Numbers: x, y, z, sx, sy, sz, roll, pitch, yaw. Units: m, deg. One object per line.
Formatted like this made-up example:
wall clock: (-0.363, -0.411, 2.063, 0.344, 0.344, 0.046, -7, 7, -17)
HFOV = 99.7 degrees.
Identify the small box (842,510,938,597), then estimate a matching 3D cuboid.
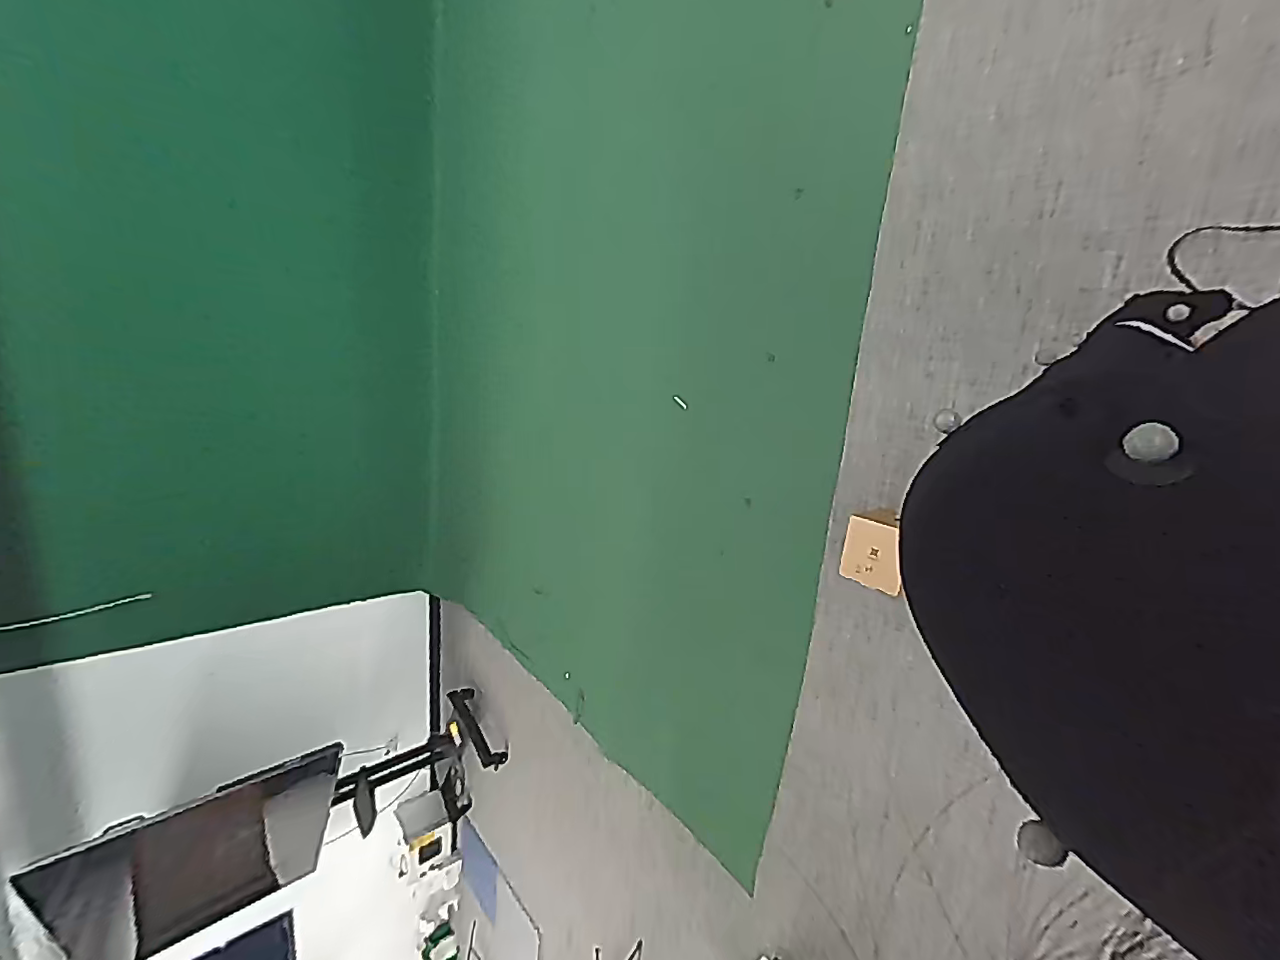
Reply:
small box: (0.670, 0.187, 1.442, 0.168, 0.176, 0.179, 20, 109, 47)
